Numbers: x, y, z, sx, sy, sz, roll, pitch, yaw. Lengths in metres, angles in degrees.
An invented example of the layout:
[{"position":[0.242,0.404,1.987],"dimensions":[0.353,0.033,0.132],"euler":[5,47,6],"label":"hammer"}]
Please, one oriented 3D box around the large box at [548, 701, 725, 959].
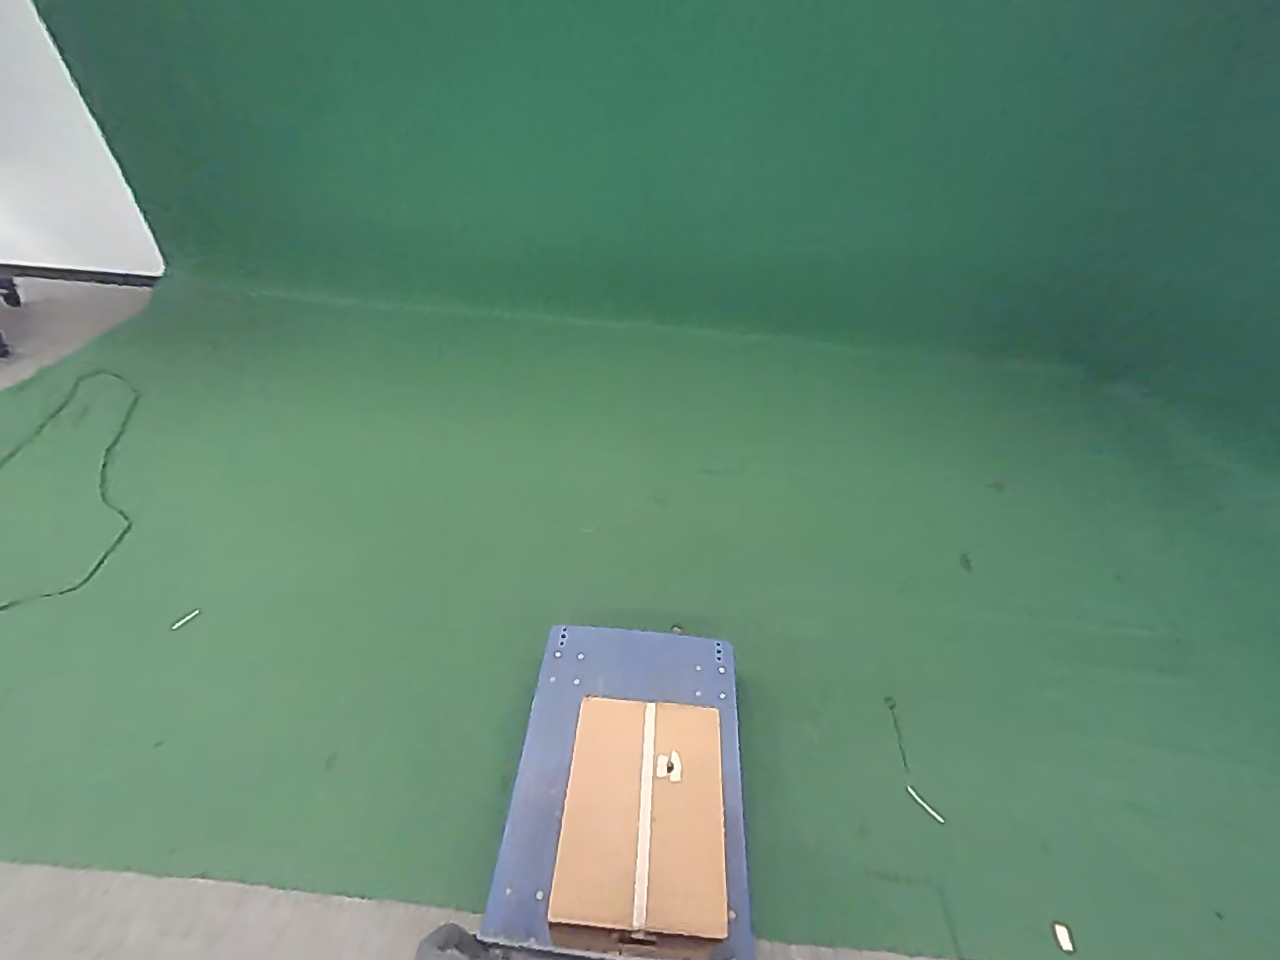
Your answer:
[{"position":[-0.006,0.752,1.164],"dimensions":[0.320,0.320,0.408],"euler":[5,40,0],"label":"large box"}]
